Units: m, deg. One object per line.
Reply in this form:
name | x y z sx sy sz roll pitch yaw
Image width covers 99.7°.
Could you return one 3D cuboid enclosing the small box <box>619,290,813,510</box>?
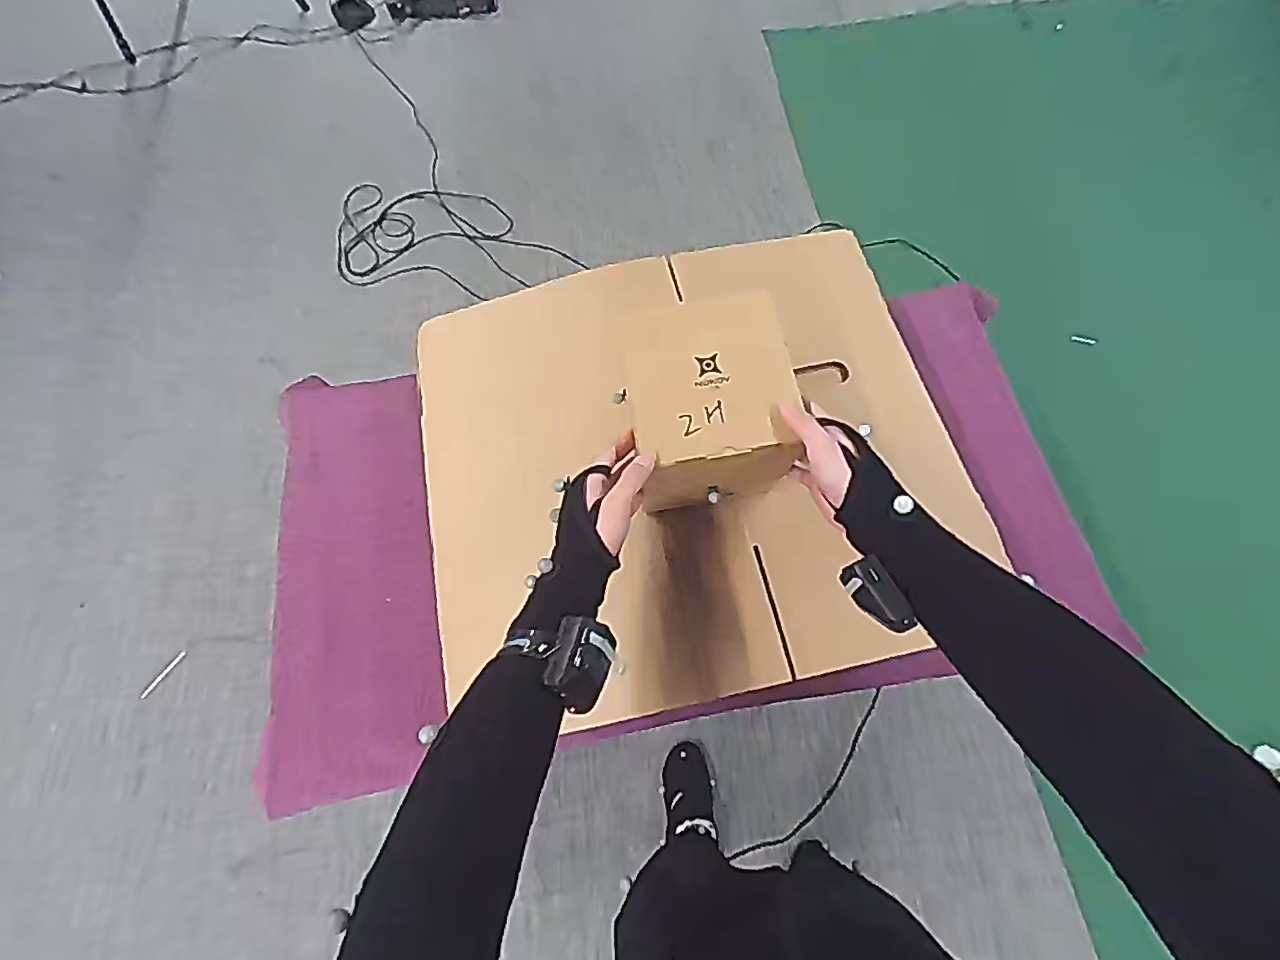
small box | 0.070 -0.080 0.605 0.168 0.176 0.179 -9 73 -2
